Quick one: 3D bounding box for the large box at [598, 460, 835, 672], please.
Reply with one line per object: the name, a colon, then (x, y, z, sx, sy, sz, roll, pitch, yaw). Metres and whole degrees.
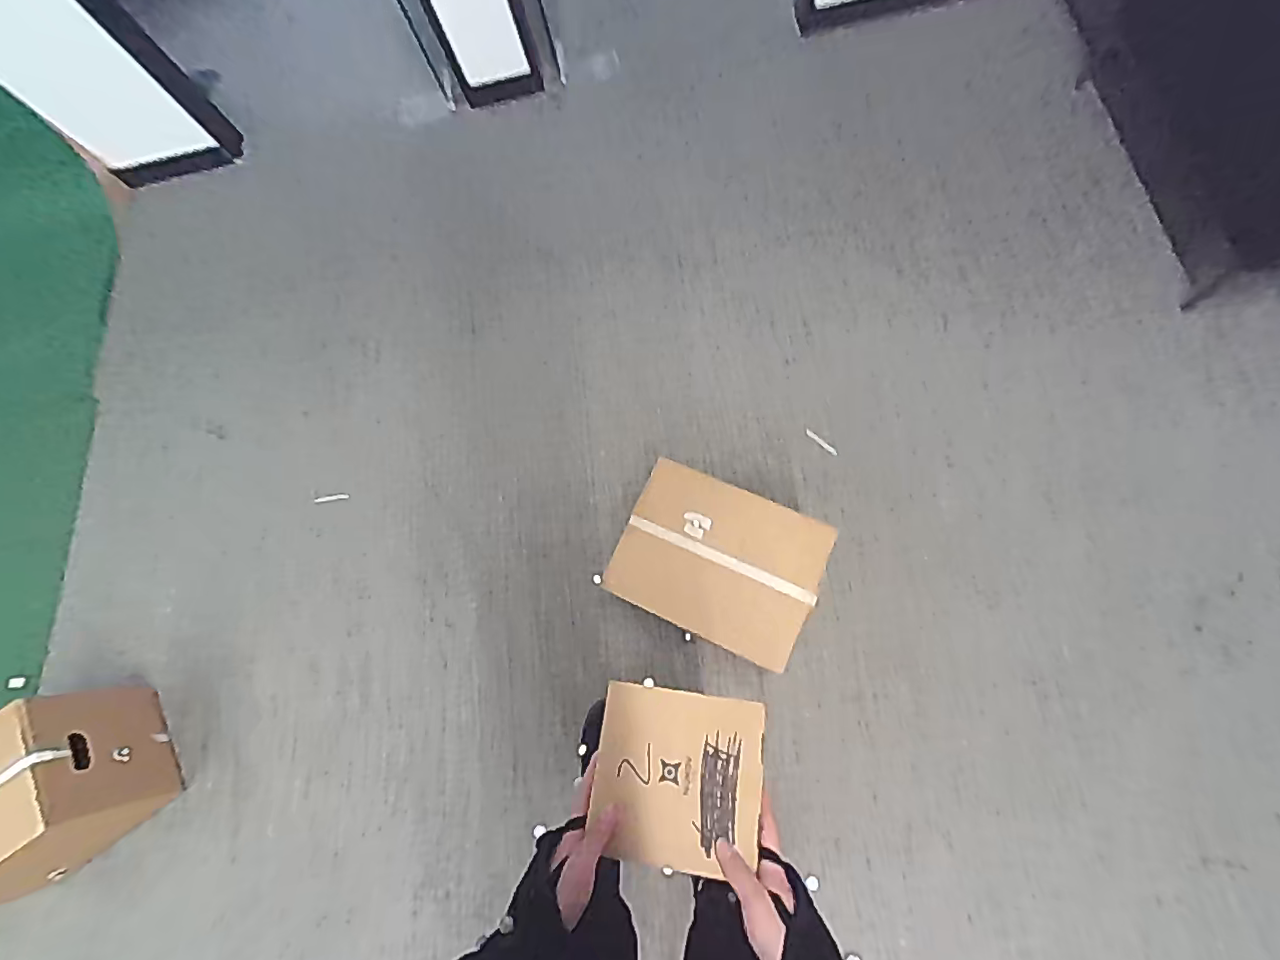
large box: (0.176, 0.201, 1.235, 0.408, 0.320, 0.320, 23, 77, 15)
